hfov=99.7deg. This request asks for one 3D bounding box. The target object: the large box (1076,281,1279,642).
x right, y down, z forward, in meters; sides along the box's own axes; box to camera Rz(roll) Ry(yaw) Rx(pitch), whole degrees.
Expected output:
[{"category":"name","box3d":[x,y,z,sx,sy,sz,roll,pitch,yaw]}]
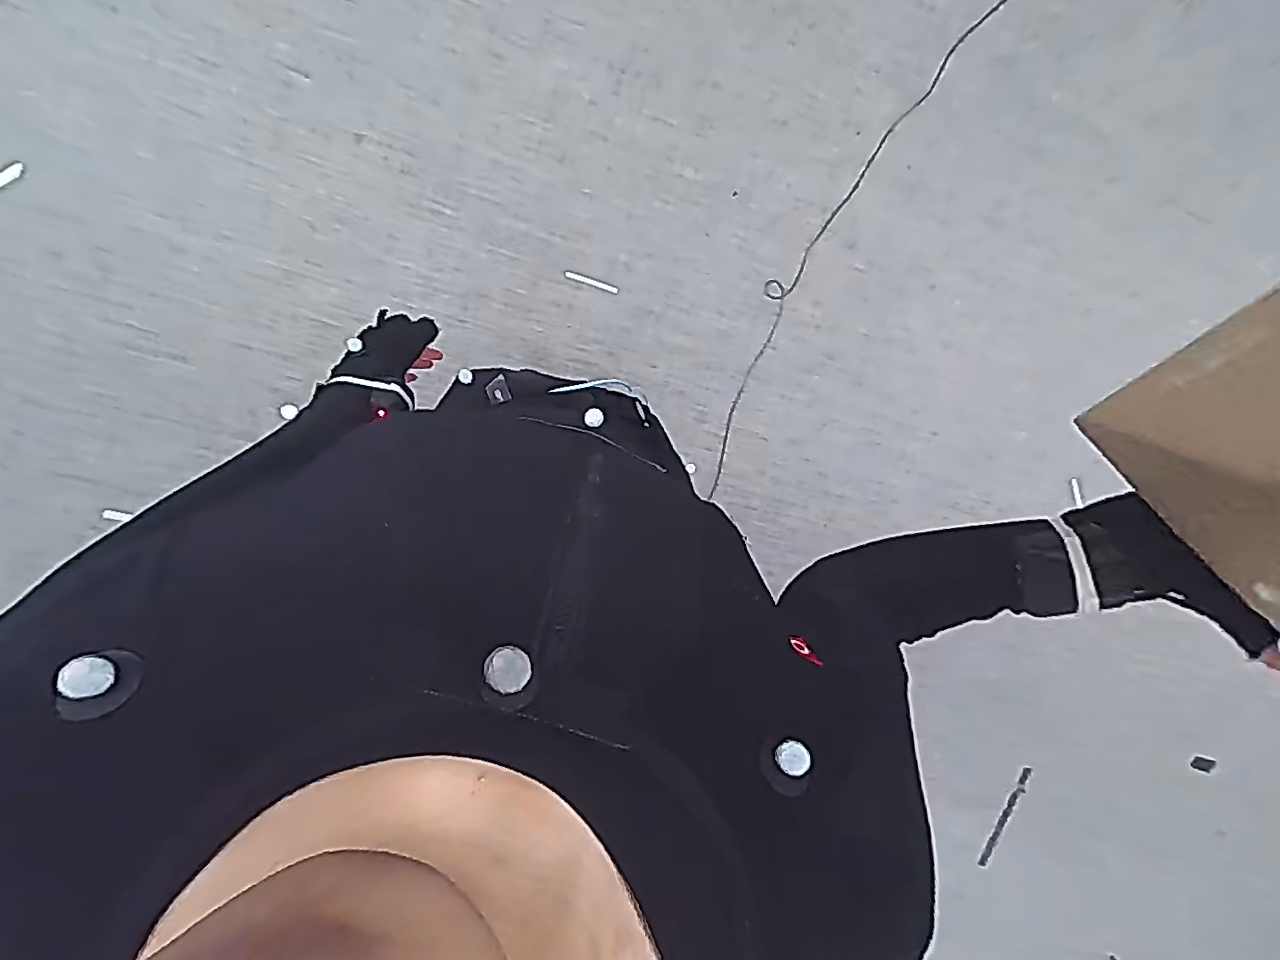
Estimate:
[{"category":"large box","box3d":[0.425,0.013,0.130,0.320,0.408,0.320,-42,82,26]}]
